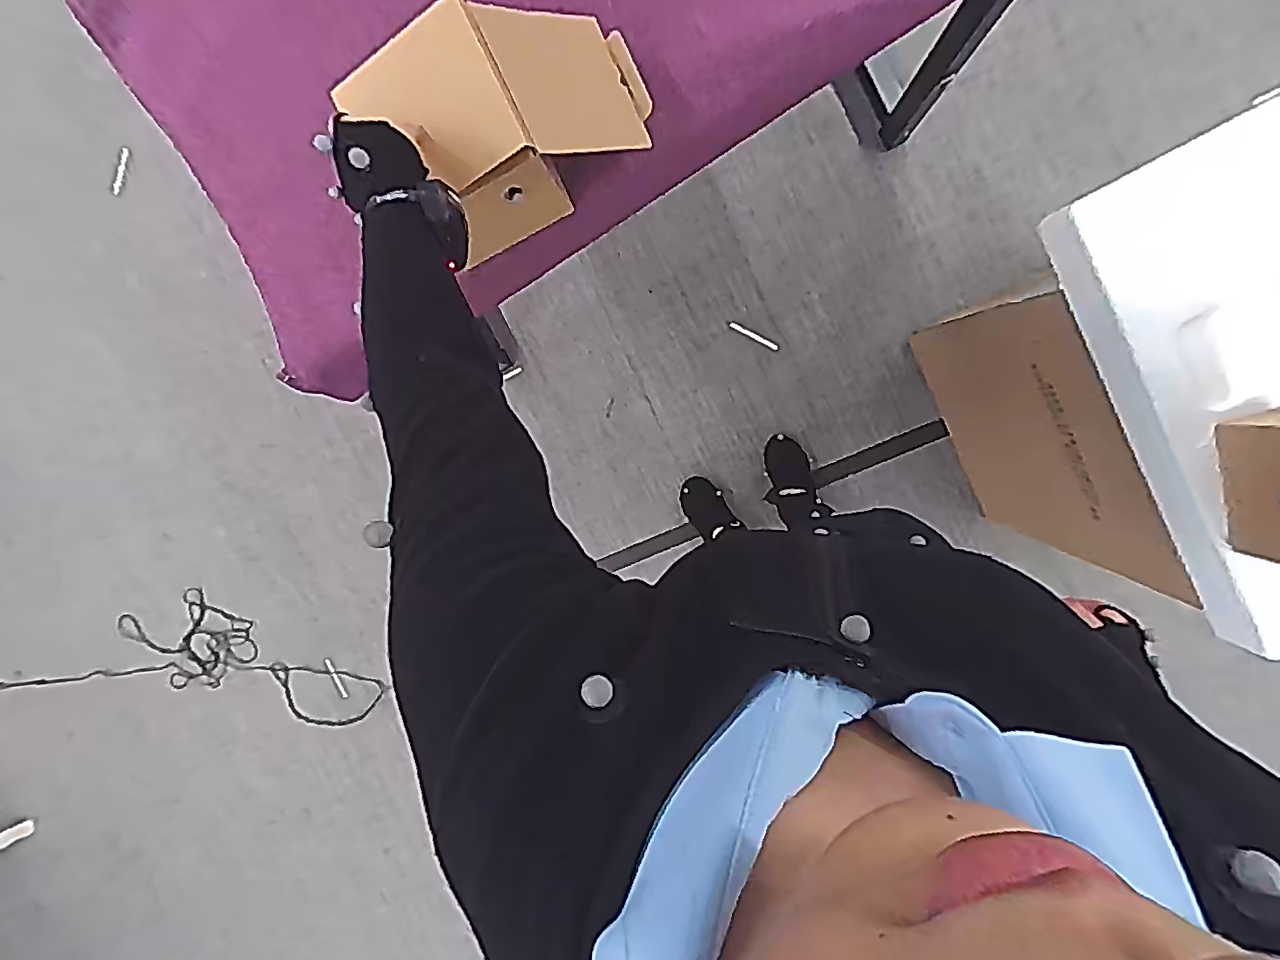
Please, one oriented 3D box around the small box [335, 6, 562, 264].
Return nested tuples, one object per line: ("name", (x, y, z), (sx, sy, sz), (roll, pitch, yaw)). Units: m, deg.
("small box", (-0.208, -0.389, 0.648), (0.179, 0.176, 0.168), (-24, 94, 10))
